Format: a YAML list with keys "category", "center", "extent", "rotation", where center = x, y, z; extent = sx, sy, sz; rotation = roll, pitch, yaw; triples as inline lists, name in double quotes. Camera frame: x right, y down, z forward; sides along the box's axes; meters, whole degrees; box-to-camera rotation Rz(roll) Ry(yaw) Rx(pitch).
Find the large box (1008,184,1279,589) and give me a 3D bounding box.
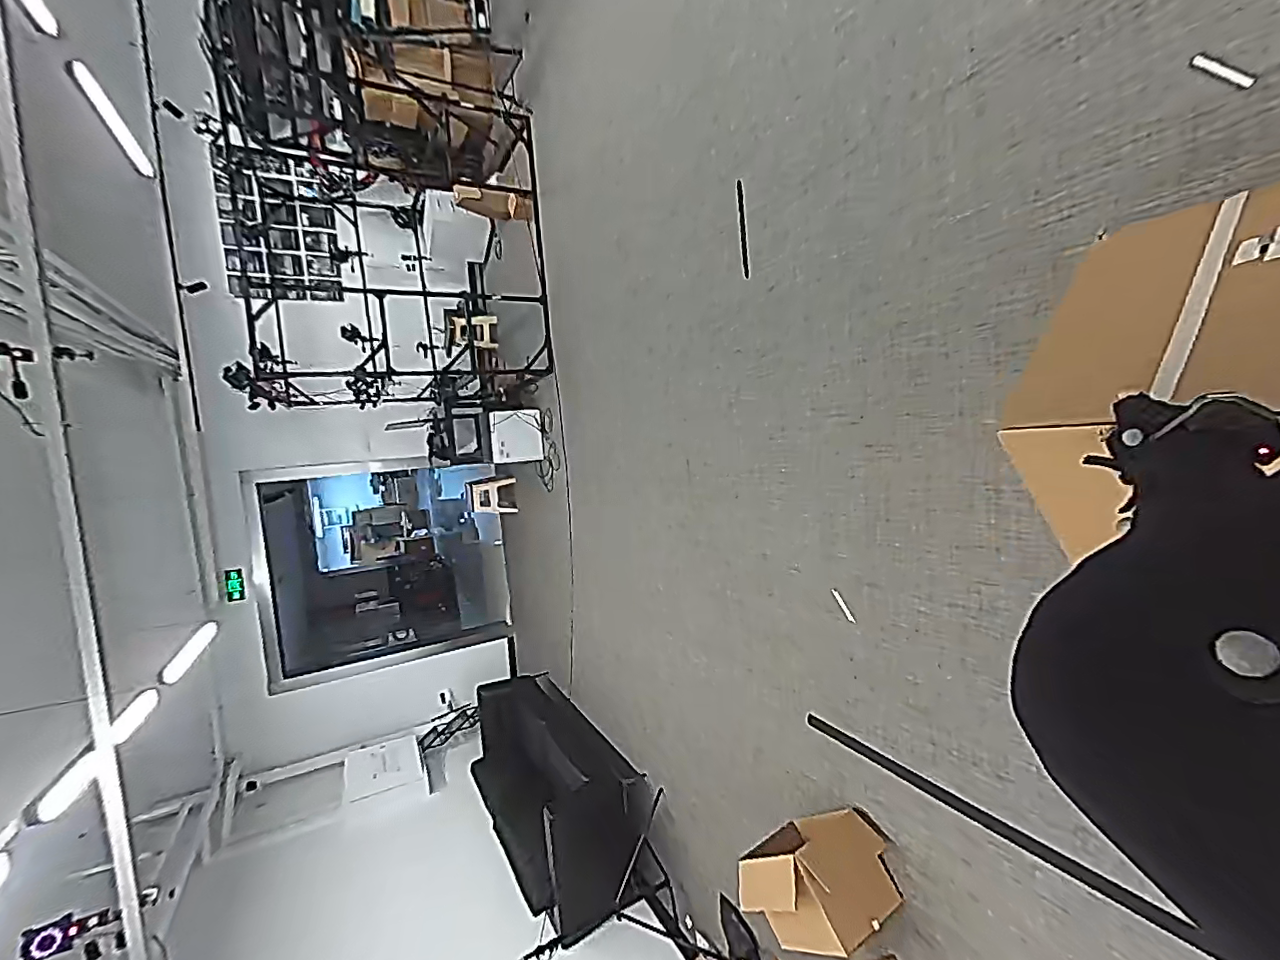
- category: "large box"
  center: [0.757, -0.114, 0.688]
  extent: [0.320, 0.408, 0.320]
  rotation: [46, 160, -23]
